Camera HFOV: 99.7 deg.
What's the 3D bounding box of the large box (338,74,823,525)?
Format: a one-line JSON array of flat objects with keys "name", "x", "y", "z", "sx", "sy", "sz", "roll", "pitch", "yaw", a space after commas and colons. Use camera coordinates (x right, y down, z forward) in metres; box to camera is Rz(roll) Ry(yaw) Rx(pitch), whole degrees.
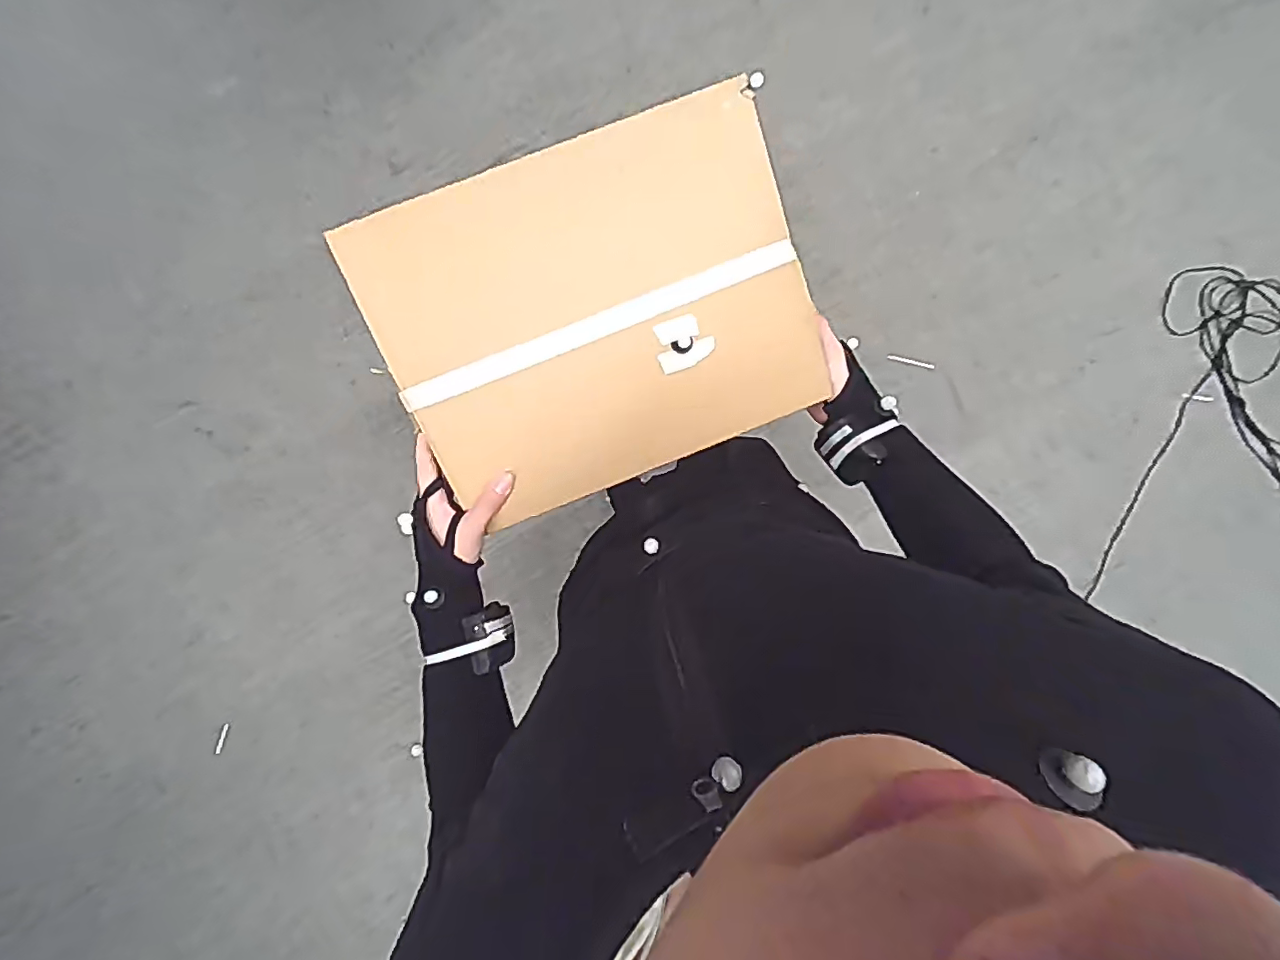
[{"name": "large box", "x": -0.060, "y": -0.197, "z": 0.674, "sx": 0.408, "sy": 0.320, "sz": 0.320, "roll": -23, "pitch": 107, "yaw": -3}]
